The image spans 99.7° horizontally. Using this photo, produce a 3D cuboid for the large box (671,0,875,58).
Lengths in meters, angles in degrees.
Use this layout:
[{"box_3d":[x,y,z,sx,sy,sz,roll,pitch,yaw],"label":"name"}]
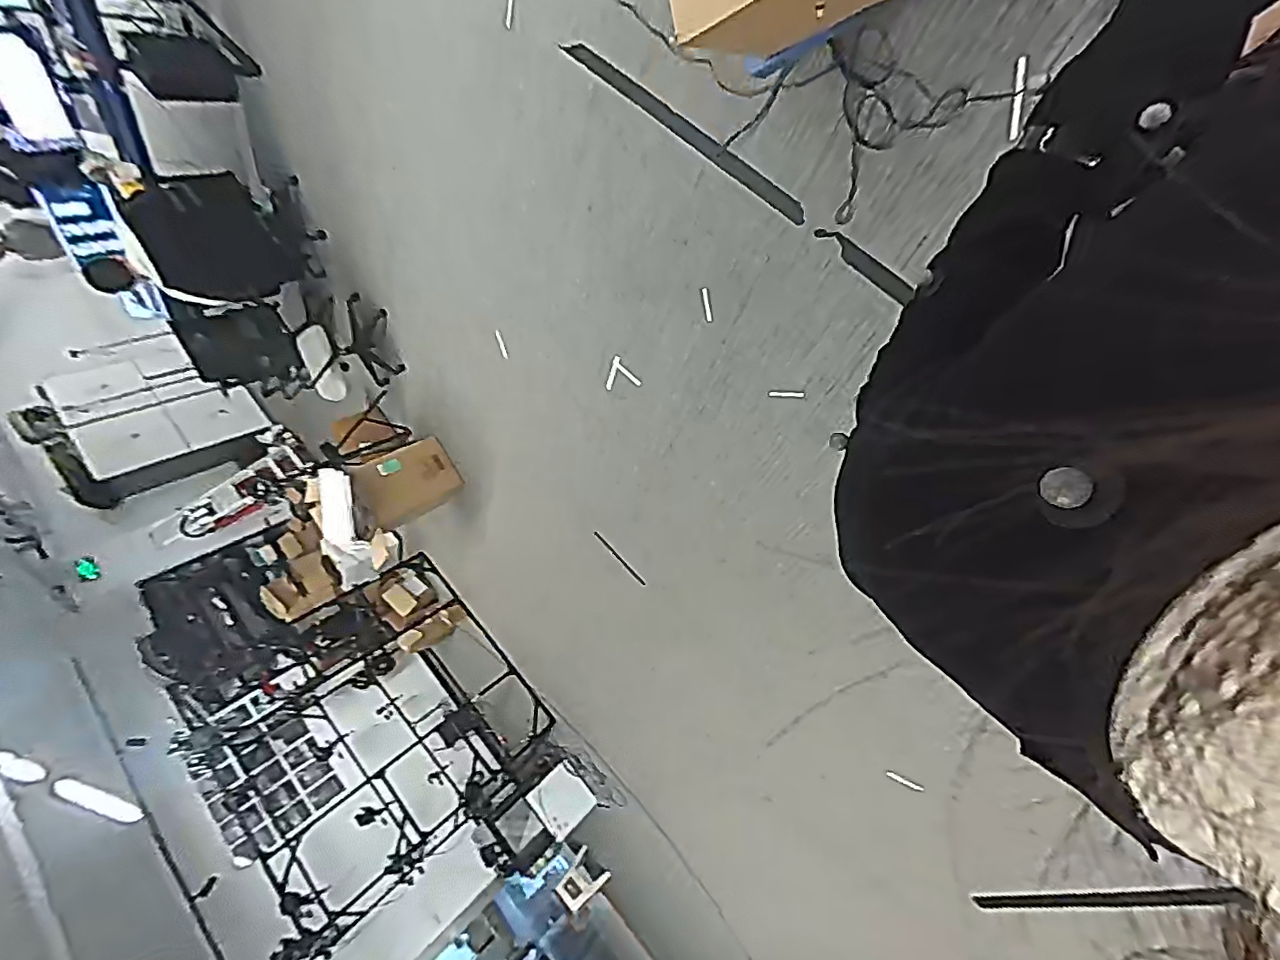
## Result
[{"box_3d":[0.279,-0.977,0.900,0.408,0.320,0.320,8,119,45],"label":"large box"}]
